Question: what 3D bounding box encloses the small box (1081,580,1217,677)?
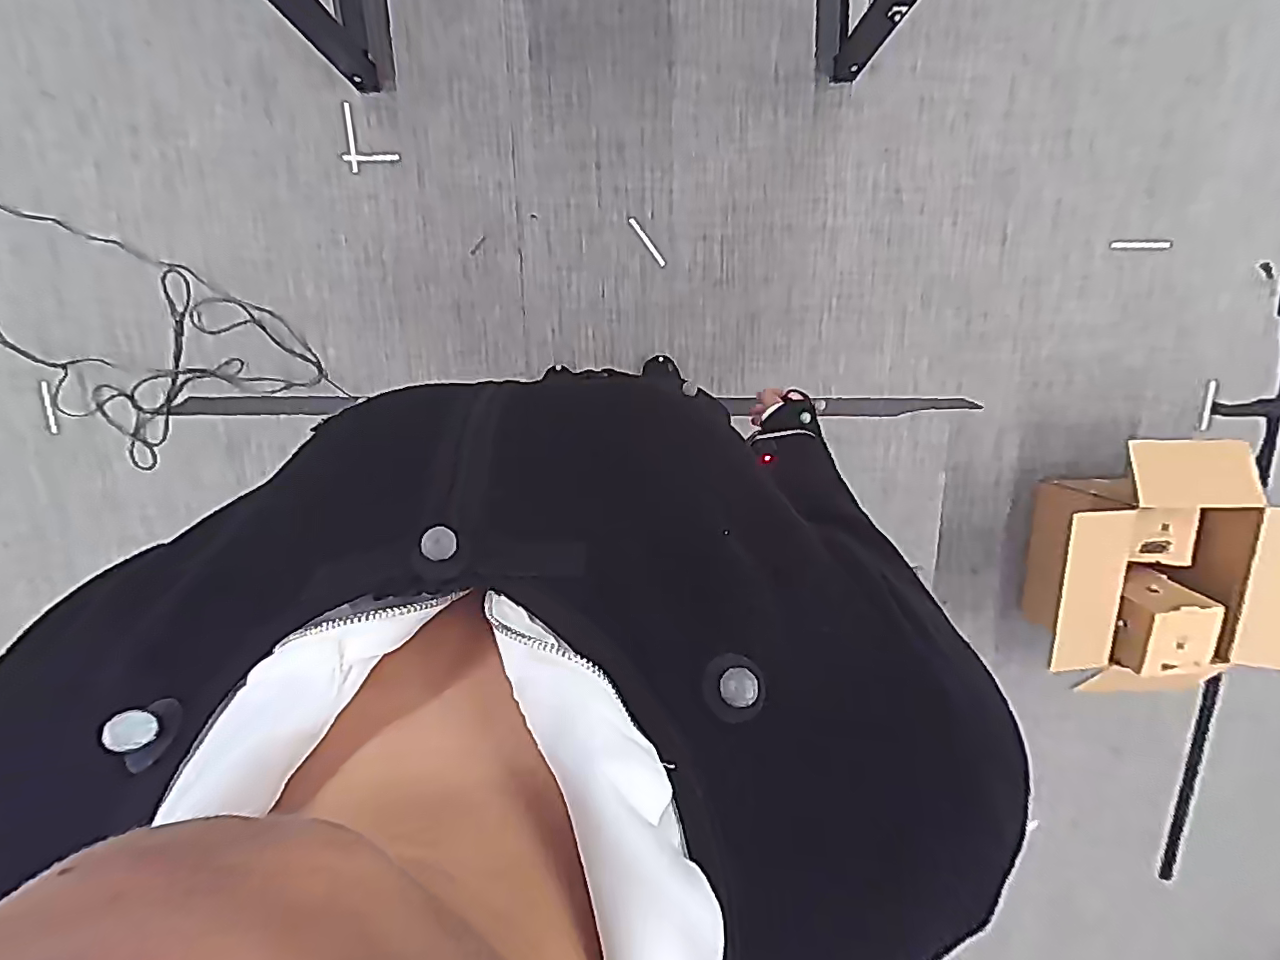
[{"bbox_3d":[1.245,0.357,1.337,0.168,0.176,0.179,-4,106,-2],"label":"small box"}]
